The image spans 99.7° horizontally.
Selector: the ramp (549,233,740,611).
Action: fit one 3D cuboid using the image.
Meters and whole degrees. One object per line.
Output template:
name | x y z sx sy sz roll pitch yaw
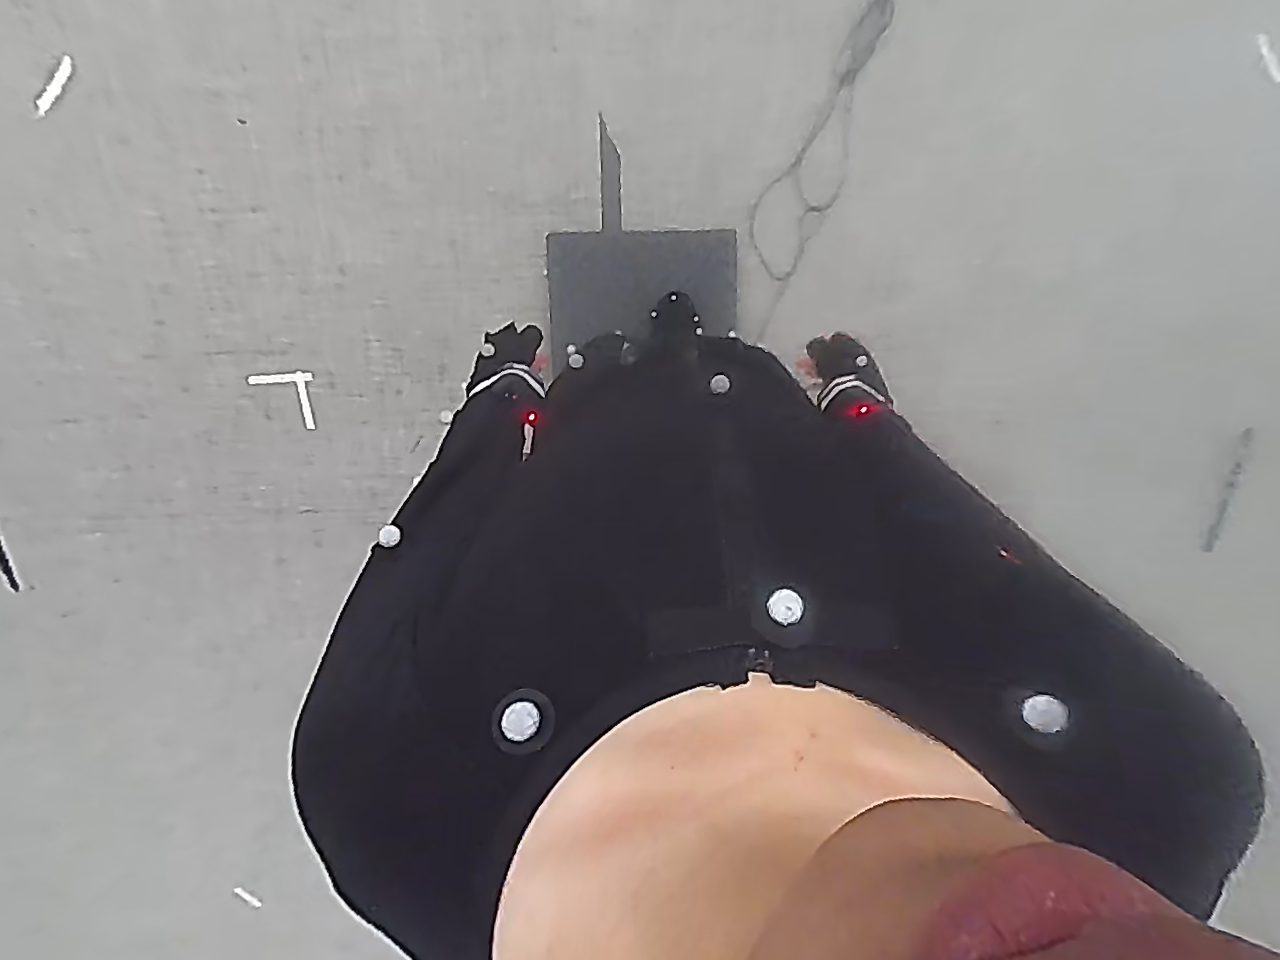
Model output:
ramp | 0.019 -0.137 1.453 0.509 0.206 0.991 -3 106 1
